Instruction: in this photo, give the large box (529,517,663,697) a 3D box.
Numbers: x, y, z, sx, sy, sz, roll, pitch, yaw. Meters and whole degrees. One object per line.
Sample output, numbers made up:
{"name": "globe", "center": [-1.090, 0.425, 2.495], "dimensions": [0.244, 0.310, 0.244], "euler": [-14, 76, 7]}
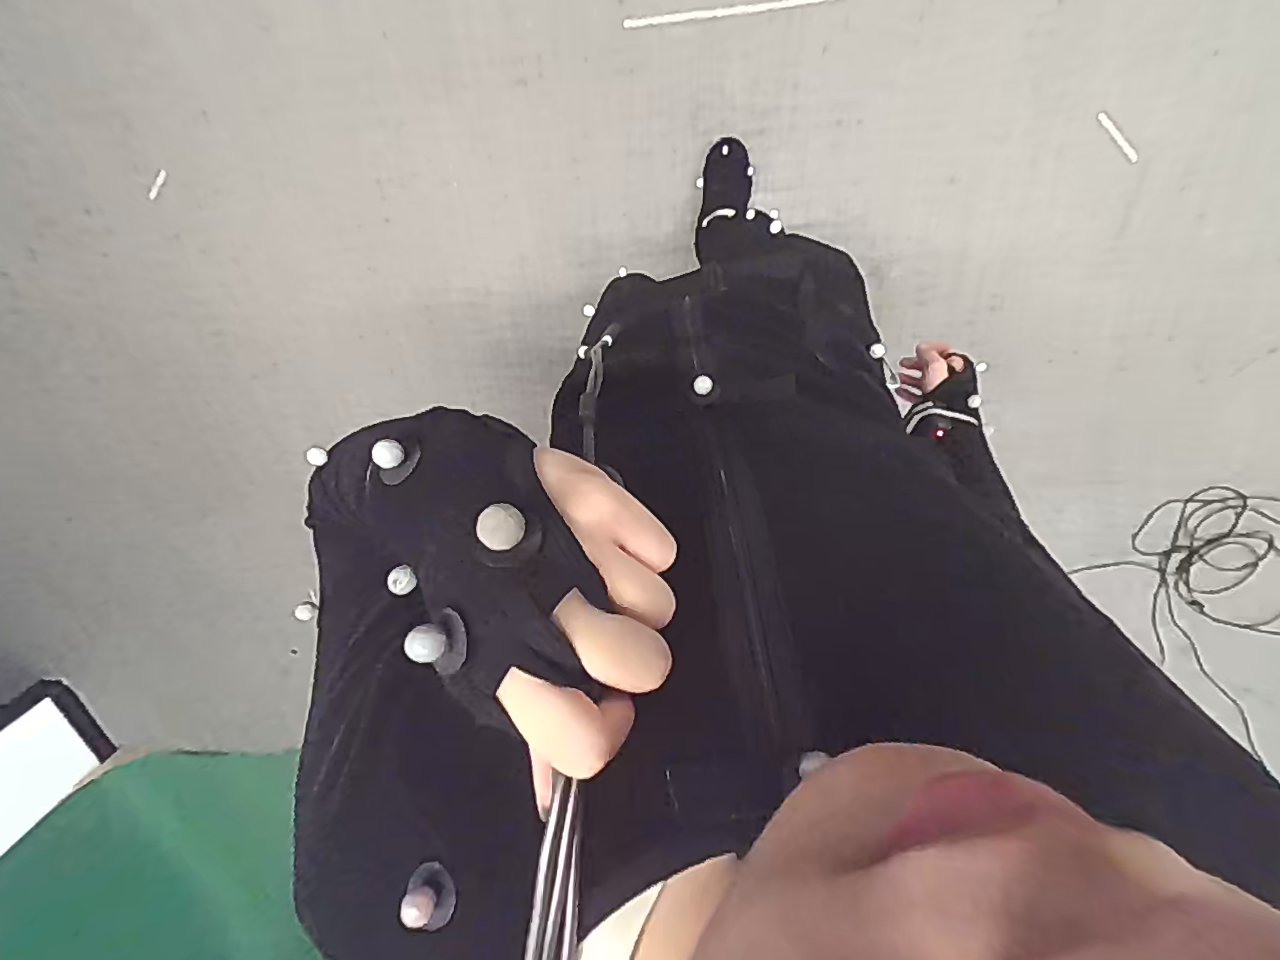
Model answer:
{"name": "large box", "center": [-0.099, 0.354, 1.545], "dimensions": [0.320, 0.320, 0.408], "euler": [-1, 116, 6]}
